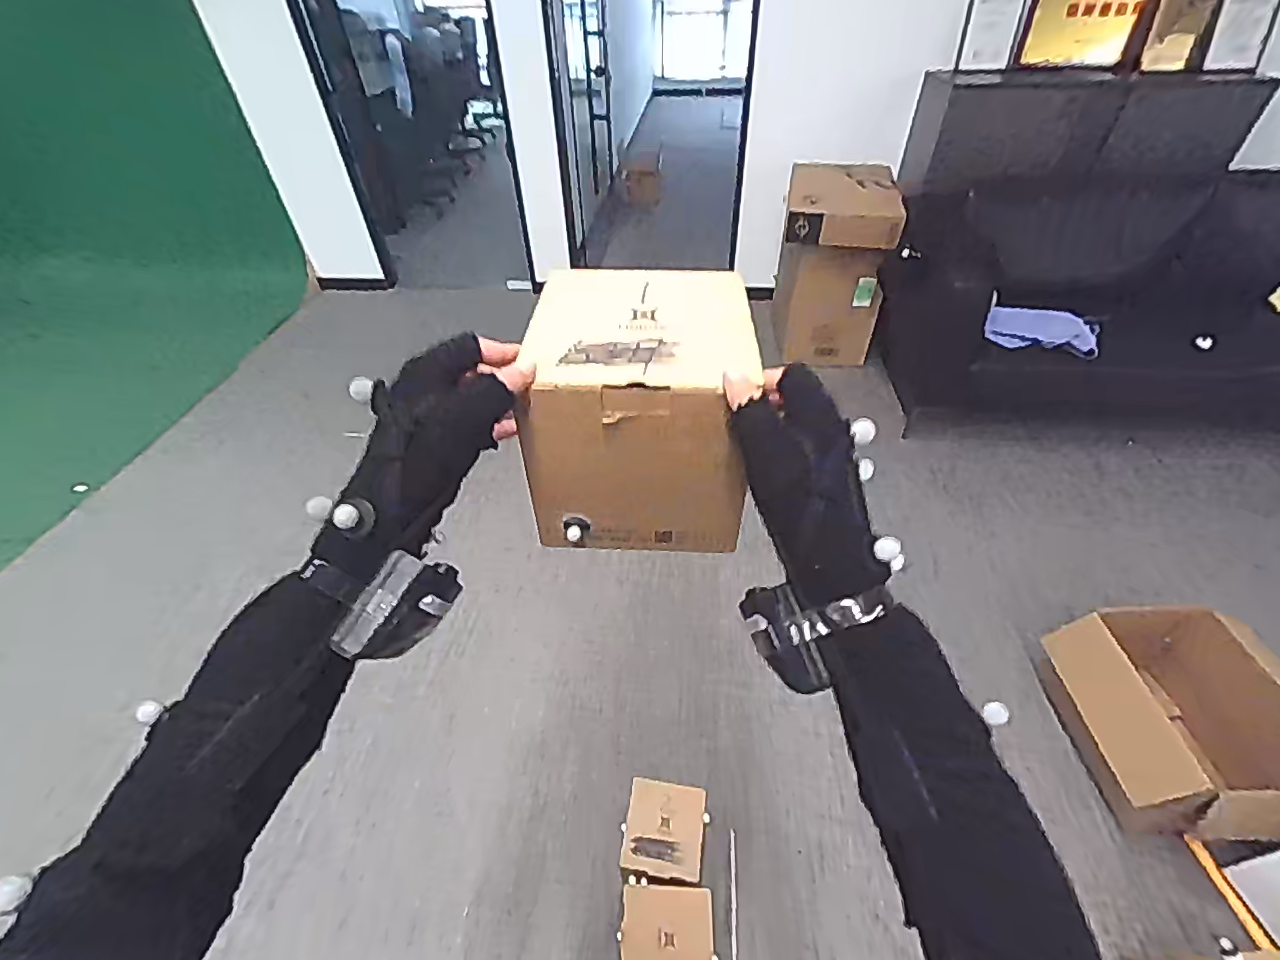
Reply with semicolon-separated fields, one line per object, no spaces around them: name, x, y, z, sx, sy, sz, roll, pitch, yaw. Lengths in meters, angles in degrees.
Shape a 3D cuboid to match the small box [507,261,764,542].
small box;0.002;-0.064;0.449;0.168;0.176;0.179;2;44;2
